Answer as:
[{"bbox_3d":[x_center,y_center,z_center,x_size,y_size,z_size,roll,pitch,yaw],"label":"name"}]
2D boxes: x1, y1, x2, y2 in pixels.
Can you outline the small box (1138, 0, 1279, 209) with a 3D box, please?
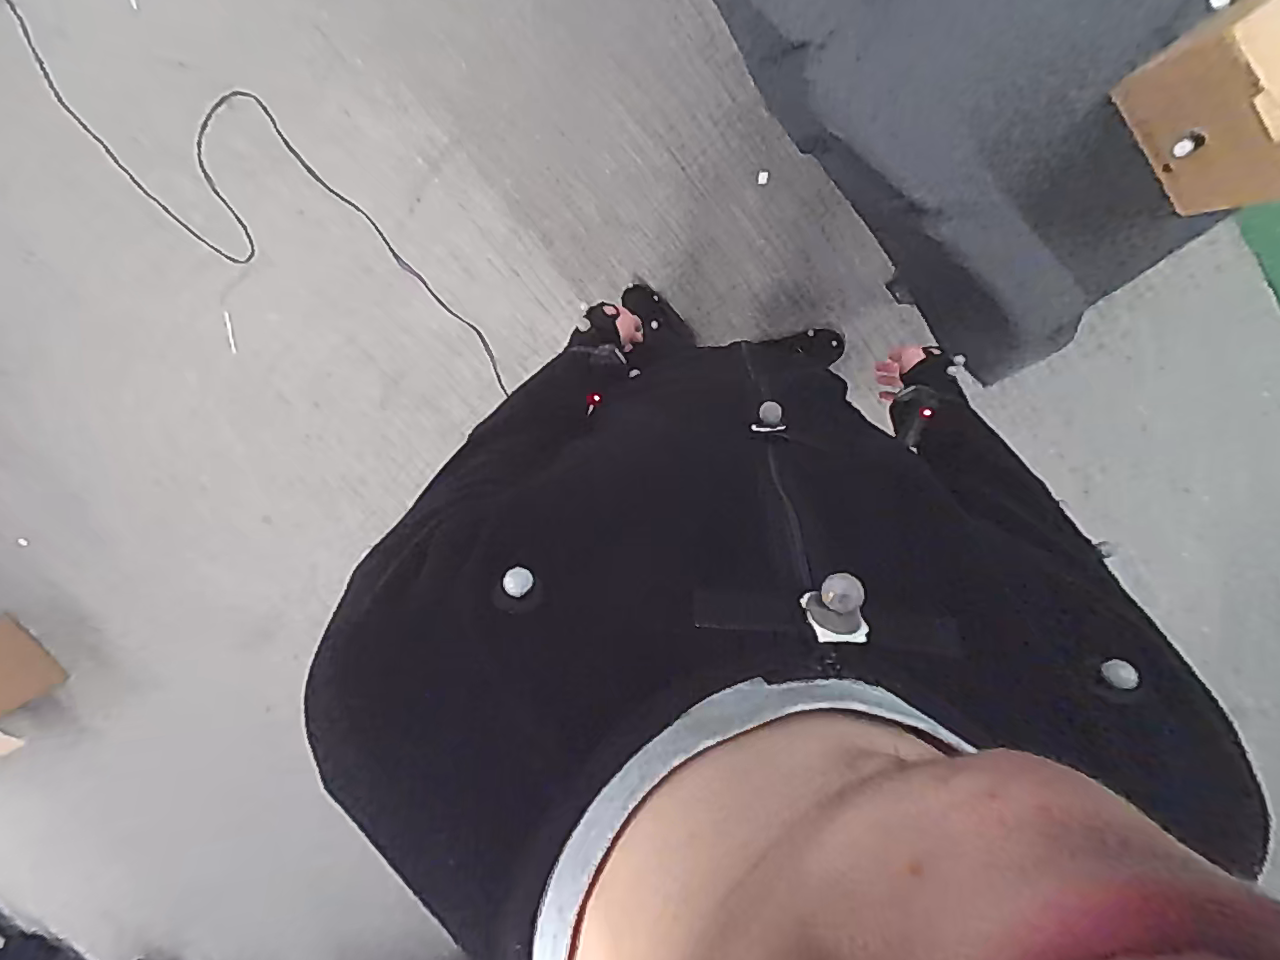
[{"bbox_3d":[0.608,-0.373,0.484,0.179,0.176,0.168,-36,100,22],"label":"small box"}]
